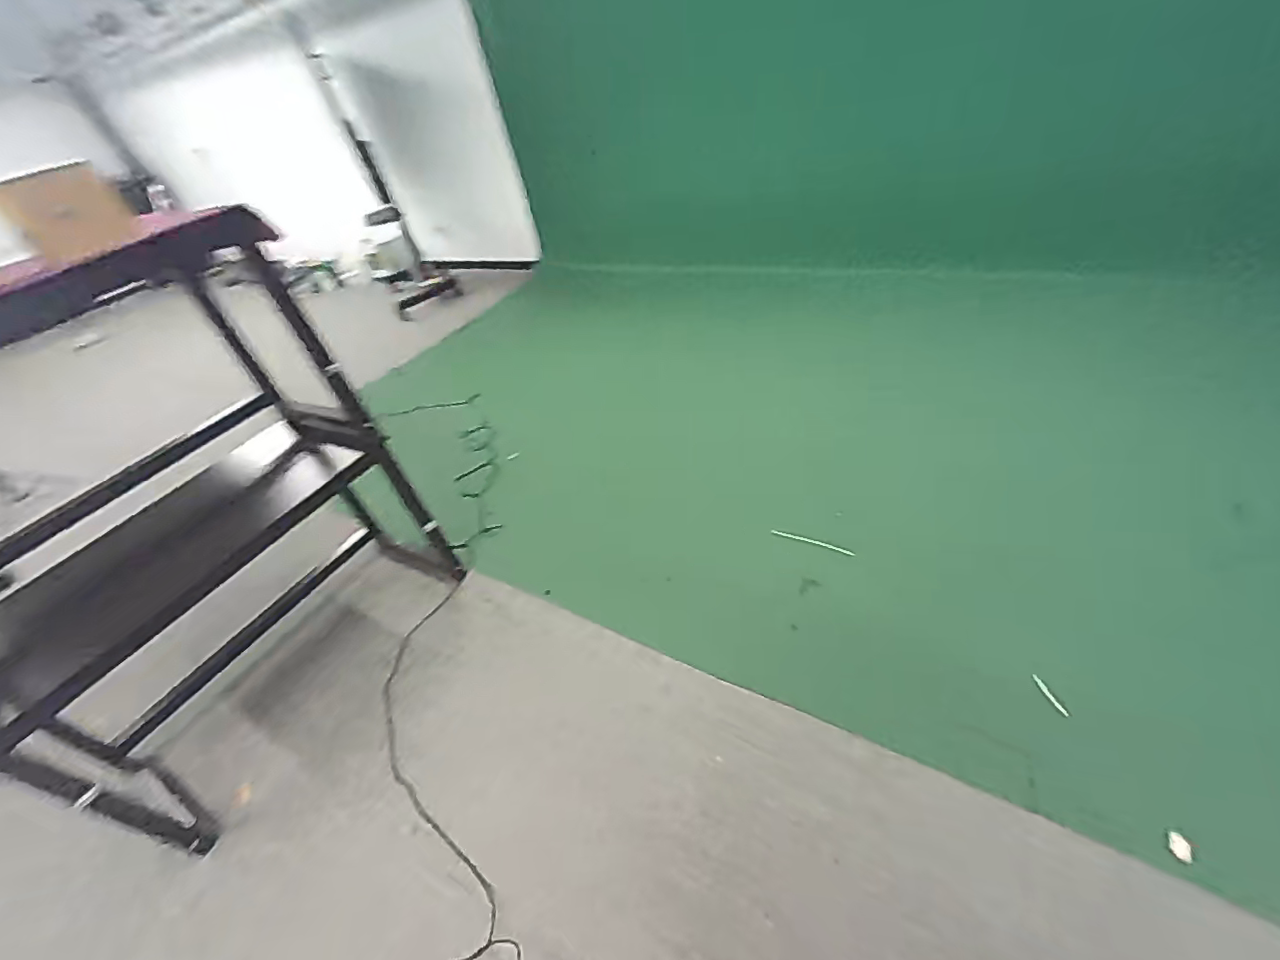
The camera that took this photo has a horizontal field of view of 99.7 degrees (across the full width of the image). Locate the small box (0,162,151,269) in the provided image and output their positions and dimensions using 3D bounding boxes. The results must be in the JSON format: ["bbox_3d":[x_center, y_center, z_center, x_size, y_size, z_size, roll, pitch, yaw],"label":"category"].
[{"bbox_3d":[-1.267,-0.585,1.206,0.168,0.176,0.179,14,49,29],"label":"small box"}]
